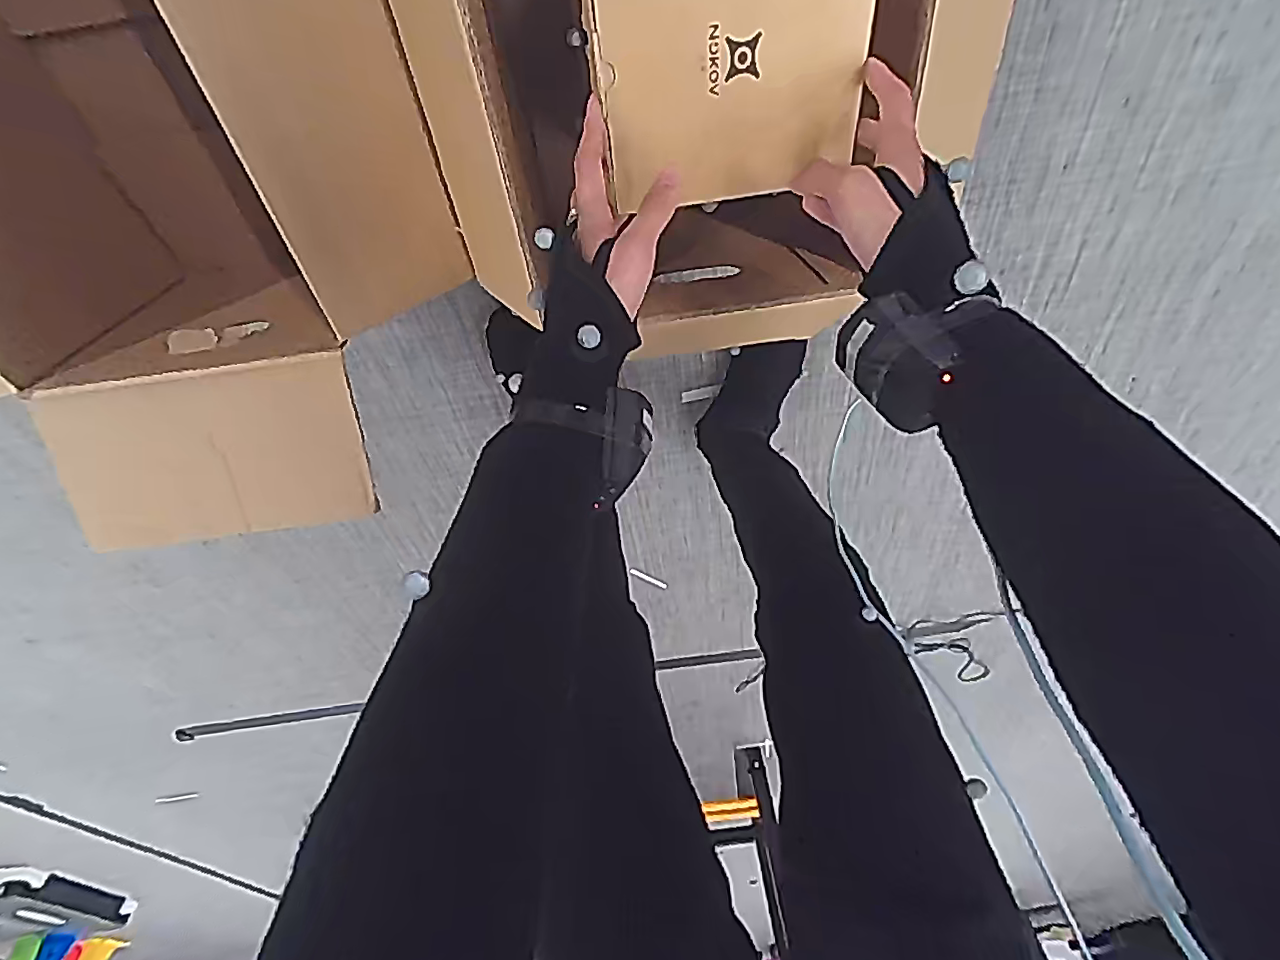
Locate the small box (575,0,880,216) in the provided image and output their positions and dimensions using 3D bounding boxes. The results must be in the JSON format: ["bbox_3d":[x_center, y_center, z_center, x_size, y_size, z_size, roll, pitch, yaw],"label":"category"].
[{"bbox_3d":[0.049,-0.314,0.388,0.179,0.176,0.168,-9,134,-1],"label":"small box"}]
